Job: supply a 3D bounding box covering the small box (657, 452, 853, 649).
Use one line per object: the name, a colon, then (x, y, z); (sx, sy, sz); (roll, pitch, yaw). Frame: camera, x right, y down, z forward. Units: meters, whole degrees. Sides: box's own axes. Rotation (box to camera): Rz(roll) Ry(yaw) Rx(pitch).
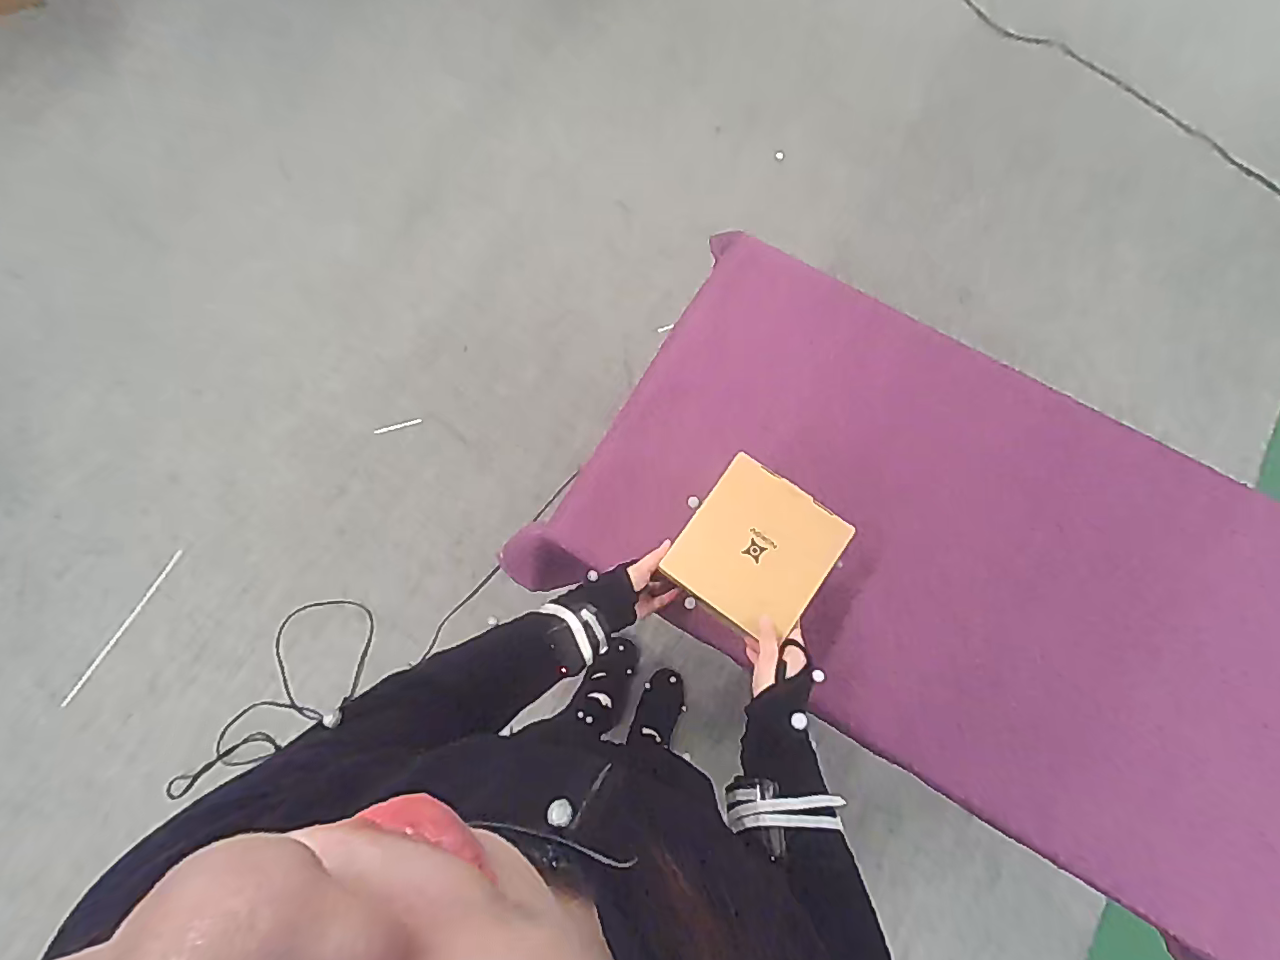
small box: (0.139, 0.097, 0.706); (0.168, 0.176, 0.179); (36, 79, 10)
